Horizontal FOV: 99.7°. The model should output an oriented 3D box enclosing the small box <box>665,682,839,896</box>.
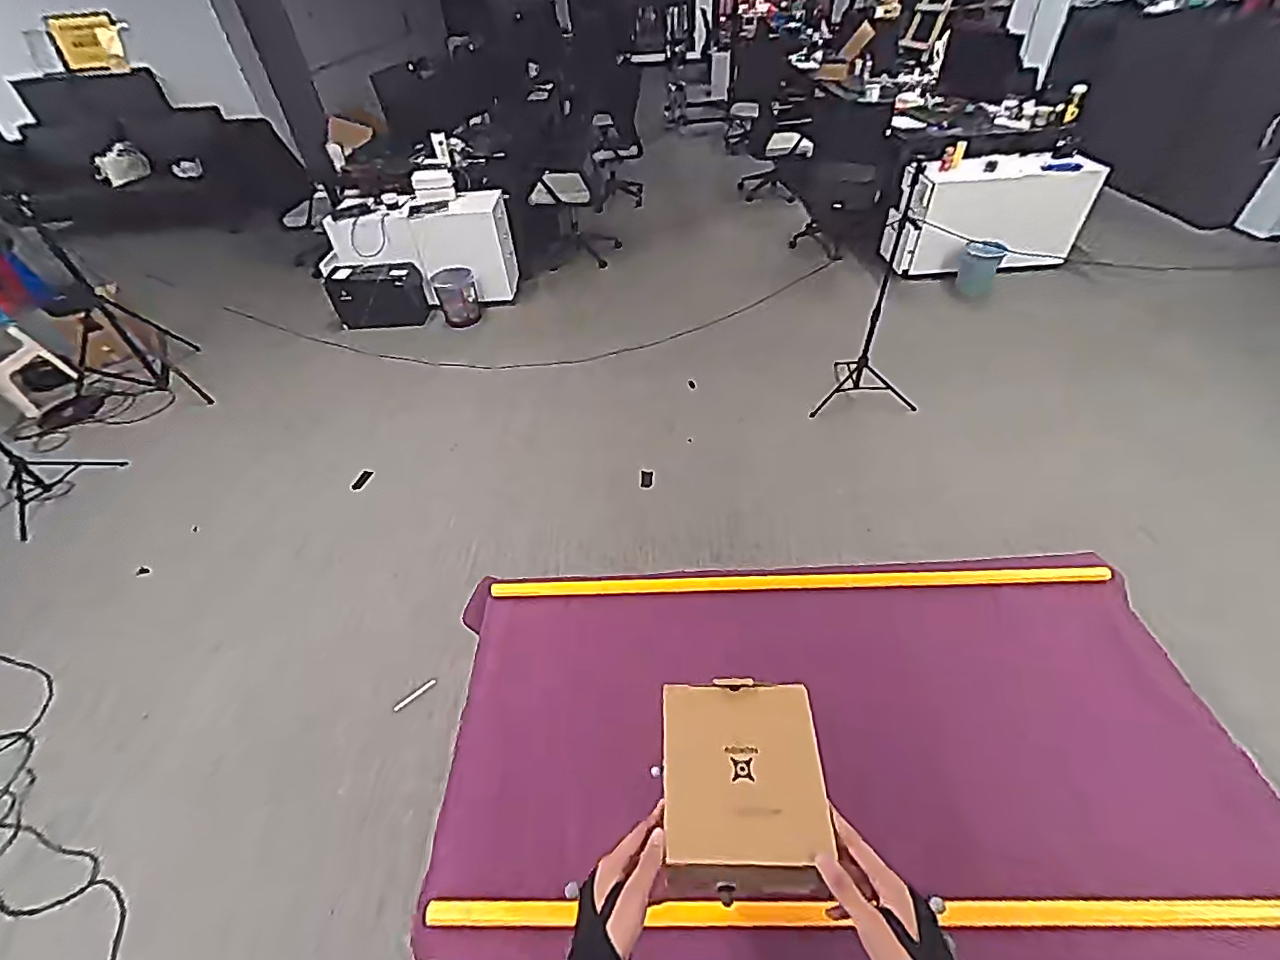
[{"bbox_3d":[0.112,0.353,0.622,0.168,0.176,0.179,-2,45,4],"label":"small box"}]
